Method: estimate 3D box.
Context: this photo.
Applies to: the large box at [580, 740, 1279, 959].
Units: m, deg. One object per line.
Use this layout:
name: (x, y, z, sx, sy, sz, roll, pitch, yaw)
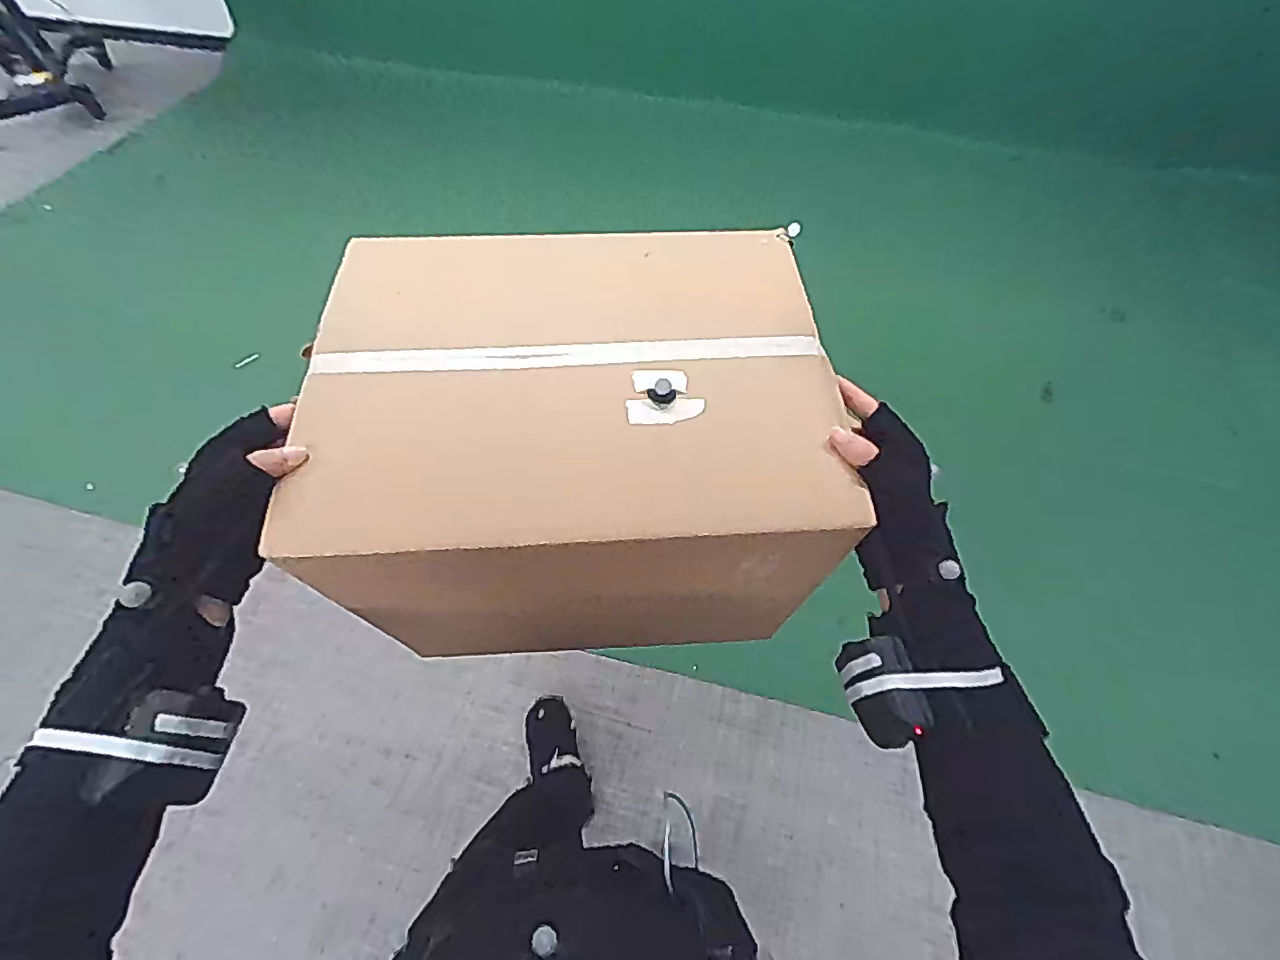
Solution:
large box: (0.117, 0.344, 0.127, 0.320, 0.320, 0.408, -9, 19, 29)
